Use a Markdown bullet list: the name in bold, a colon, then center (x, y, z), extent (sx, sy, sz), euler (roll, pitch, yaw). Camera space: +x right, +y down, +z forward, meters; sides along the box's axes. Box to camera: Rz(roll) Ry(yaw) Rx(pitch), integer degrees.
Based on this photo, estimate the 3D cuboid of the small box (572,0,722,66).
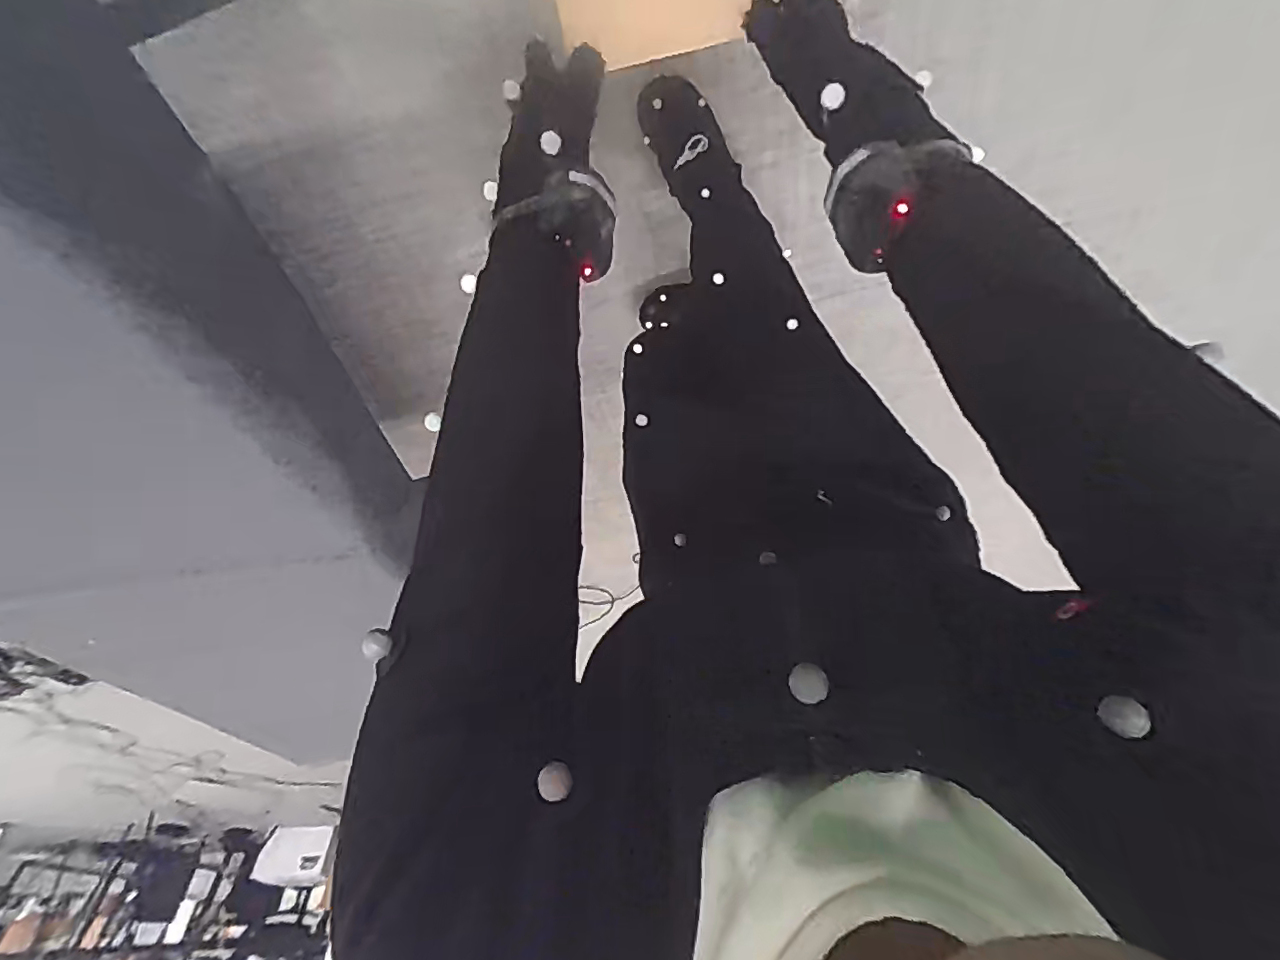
- **small box**: center (-0.002, -0.614, 0.622), extent (0.168, 0.176, 0.179), euler (-8, 136, 8)
